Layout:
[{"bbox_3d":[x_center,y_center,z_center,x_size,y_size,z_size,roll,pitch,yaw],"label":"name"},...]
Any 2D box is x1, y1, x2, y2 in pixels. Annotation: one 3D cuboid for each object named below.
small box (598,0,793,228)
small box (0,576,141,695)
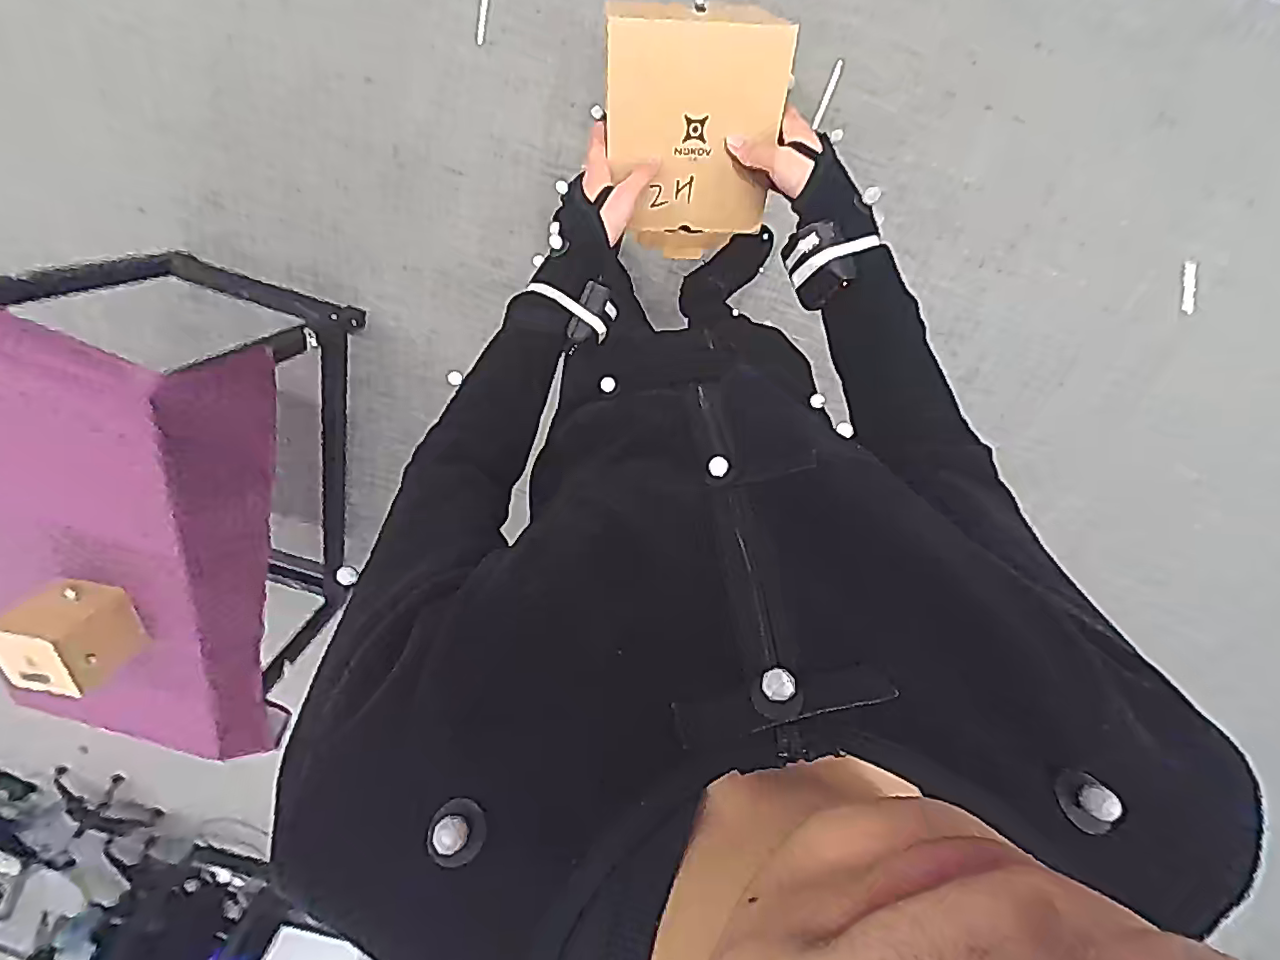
[{"bbox_3d":[0.040,-0.384,0.561,0.168,0.176,0.179,-1,136,-3],"label":"small box"},{"bbox_3d":[-1.285,0.345,1.211,0.168,0.176,0.179,9,120,2],"label":"small box"}]
